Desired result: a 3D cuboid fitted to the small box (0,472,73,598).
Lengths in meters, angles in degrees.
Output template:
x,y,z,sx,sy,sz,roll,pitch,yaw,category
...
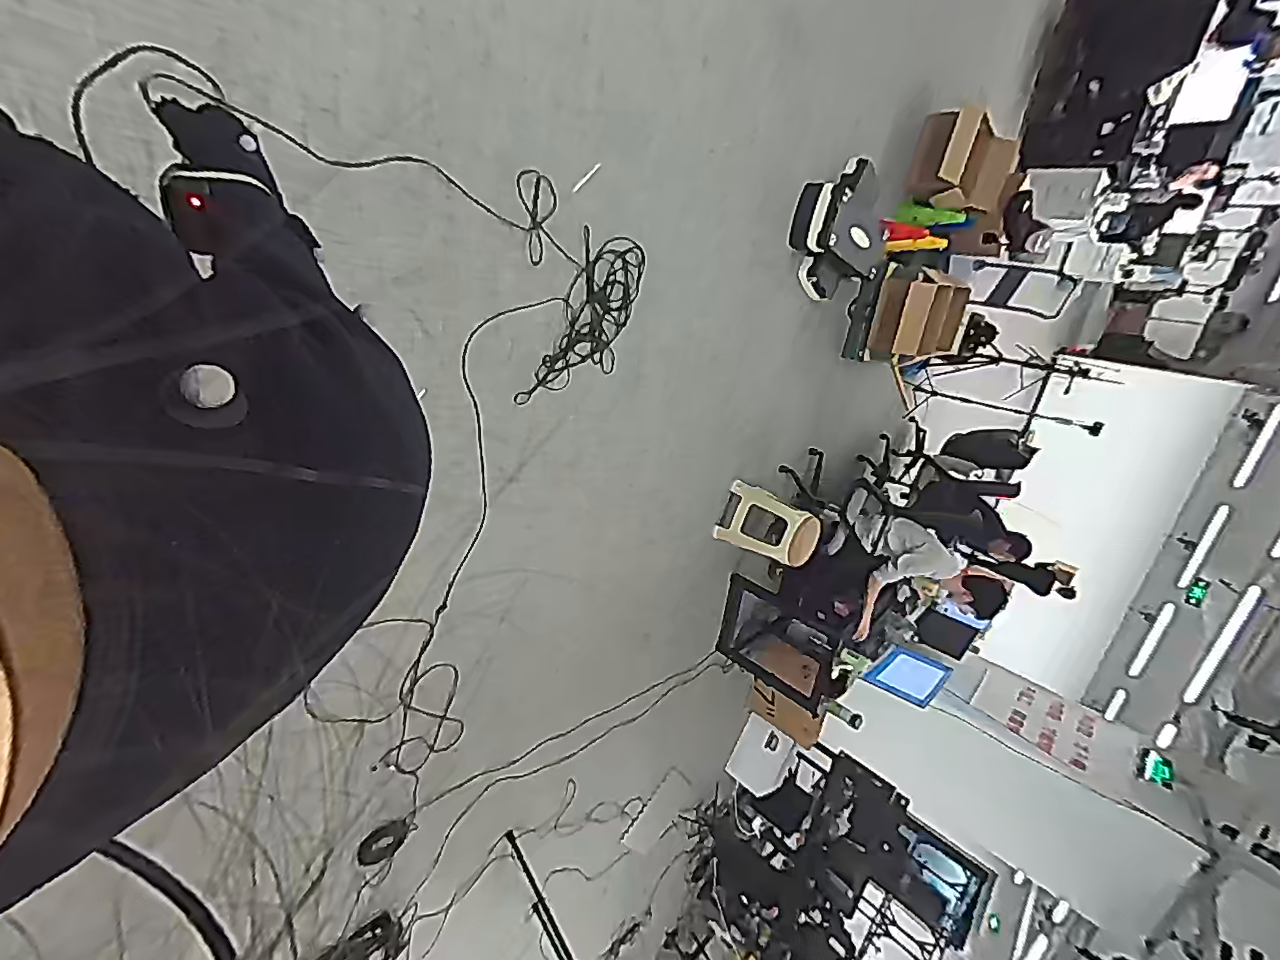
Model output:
x,y,z,sx,sy,sz,roll,pitch,yaw,category
-1.168,0.101,0.986,0.168,0.176,0.179,-12,118,-46,small box
